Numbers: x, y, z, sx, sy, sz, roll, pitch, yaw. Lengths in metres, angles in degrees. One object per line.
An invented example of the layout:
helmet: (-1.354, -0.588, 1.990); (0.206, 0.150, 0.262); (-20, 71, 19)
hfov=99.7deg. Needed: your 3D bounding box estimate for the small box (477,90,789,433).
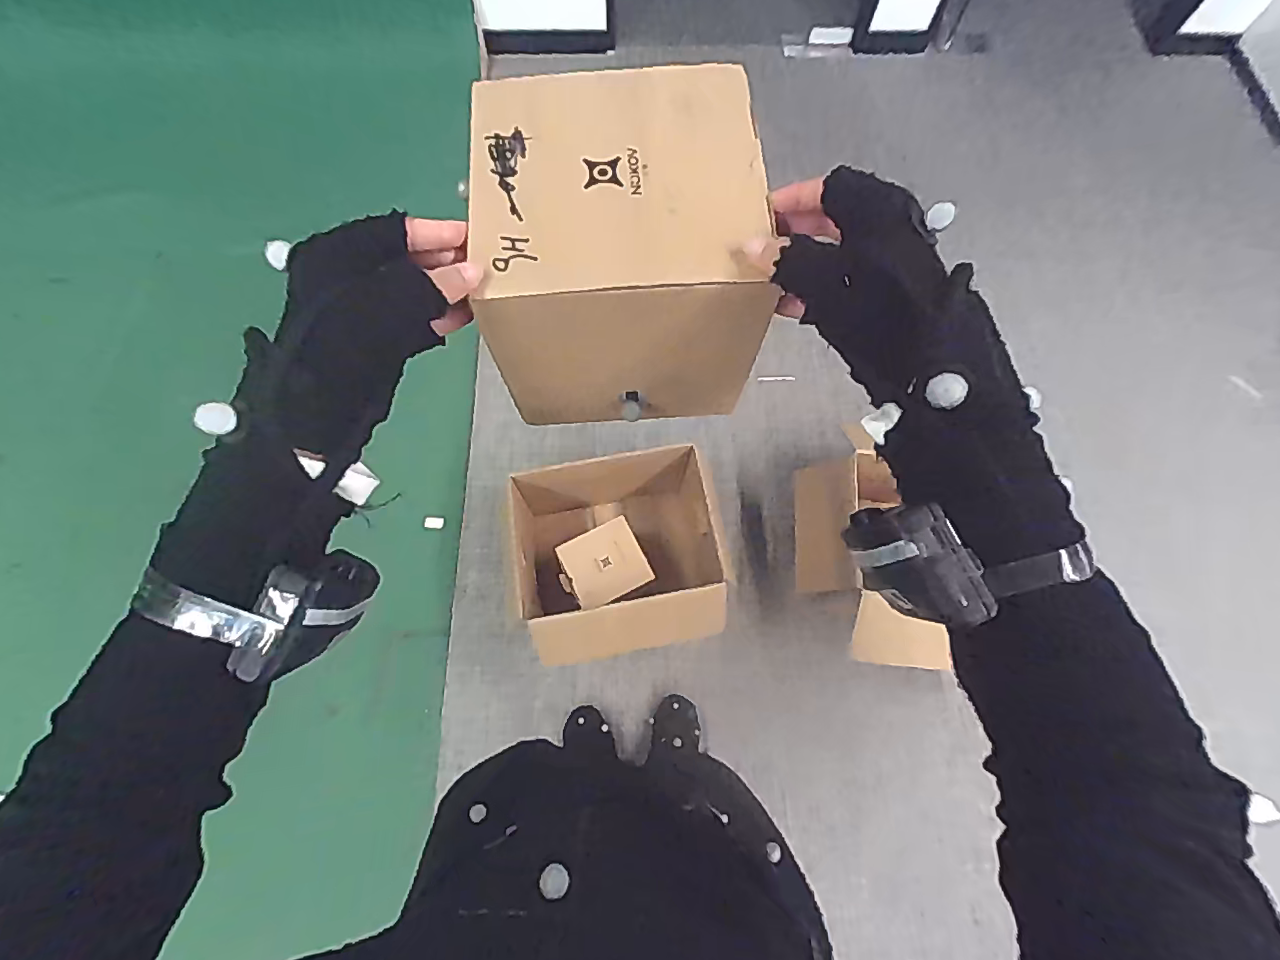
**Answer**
small box: (-0.011, -0.144, 0.397); (0.179, 0.176, 0.168); (-4, 71, -3)
